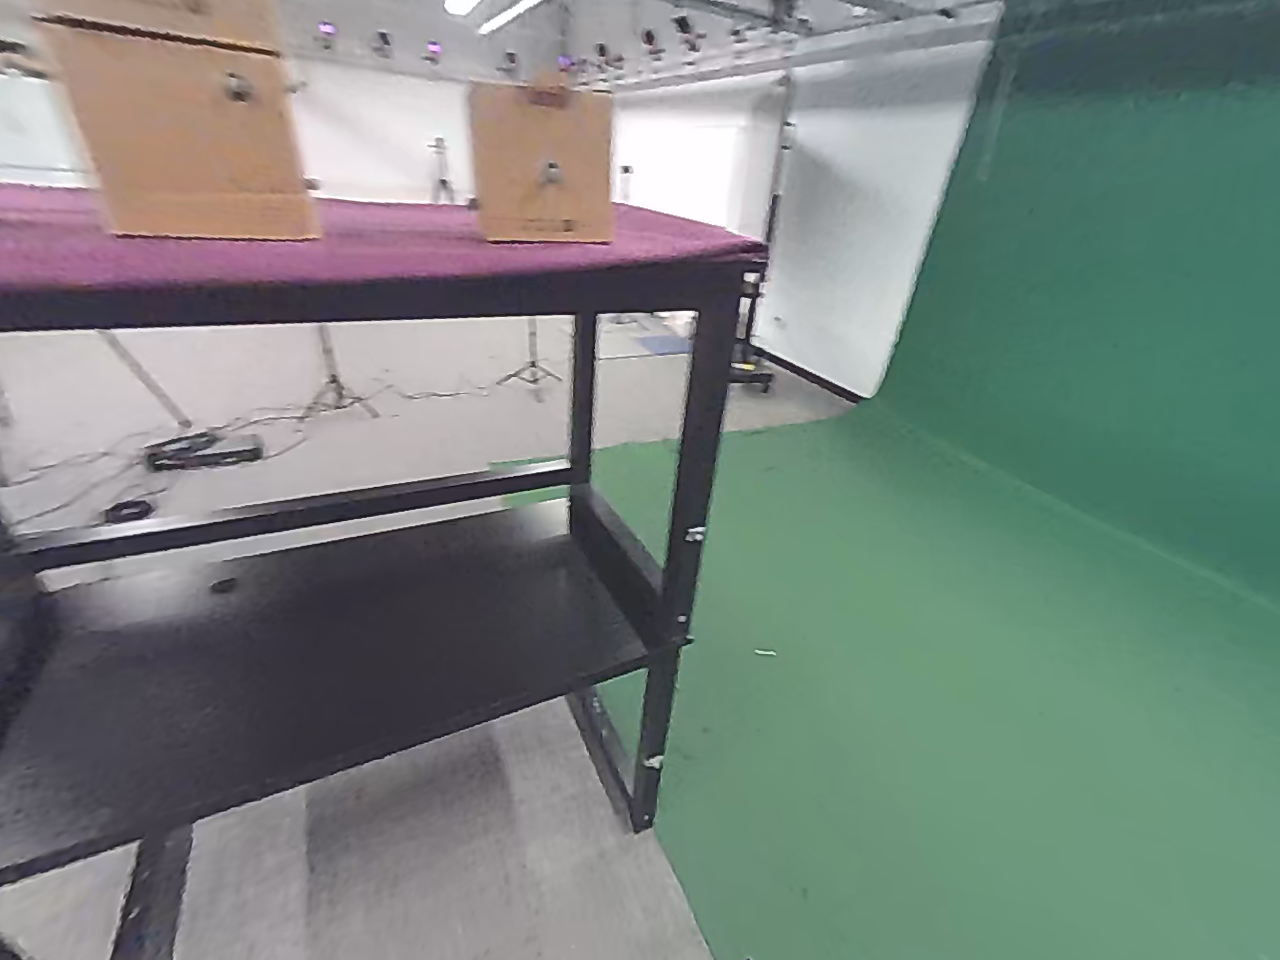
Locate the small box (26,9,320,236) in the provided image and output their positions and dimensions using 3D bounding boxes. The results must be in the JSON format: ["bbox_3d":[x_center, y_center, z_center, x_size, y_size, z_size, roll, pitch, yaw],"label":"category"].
[{"bbox_3d":[-0.458,-0.355,0.570,0.179,0.176,0.168,-10,32,-25],"label":"small box"}]

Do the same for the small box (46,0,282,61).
[{"bbox_3d":[-0.441,-0.498,0.494,0.168,0.176,0.179,-10,31,-28],"label":"small box"}]

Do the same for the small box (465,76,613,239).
[{"bbox_3d":[-0.135,-0.420,0.721,0.168,0.176,0.179,-8,31,-18],"label":"small box"}]
